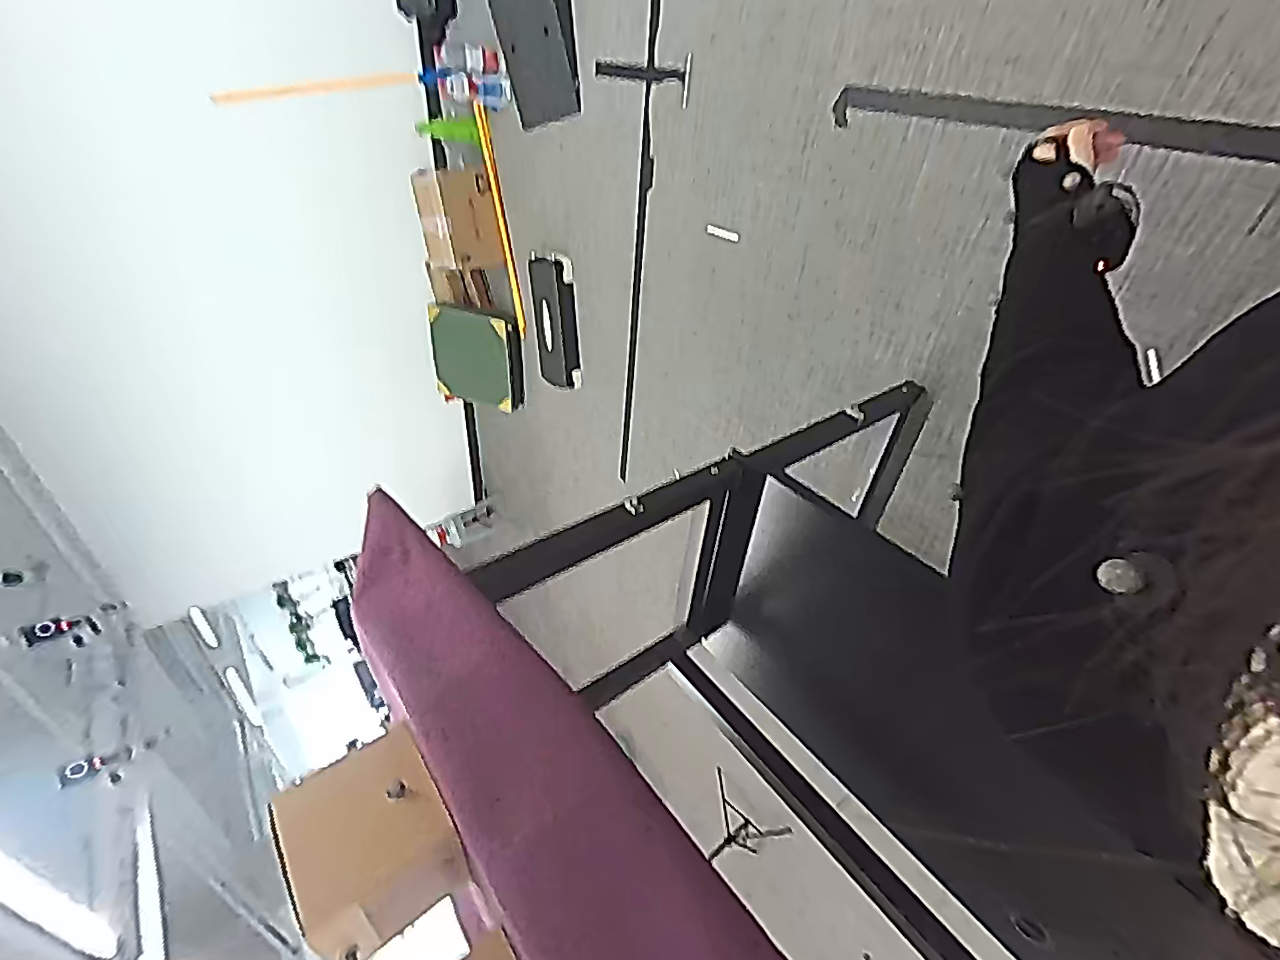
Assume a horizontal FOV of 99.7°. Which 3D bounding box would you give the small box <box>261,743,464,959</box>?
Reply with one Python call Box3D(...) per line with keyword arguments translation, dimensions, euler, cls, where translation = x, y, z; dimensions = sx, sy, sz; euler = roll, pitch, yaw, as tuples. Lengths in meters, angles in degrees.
Box3D(translation=(-0.340, 0.465, 0.678), dimensions=(0.179, 0.176, 0.168), euler=(38, 138, 38), cls="small box")
